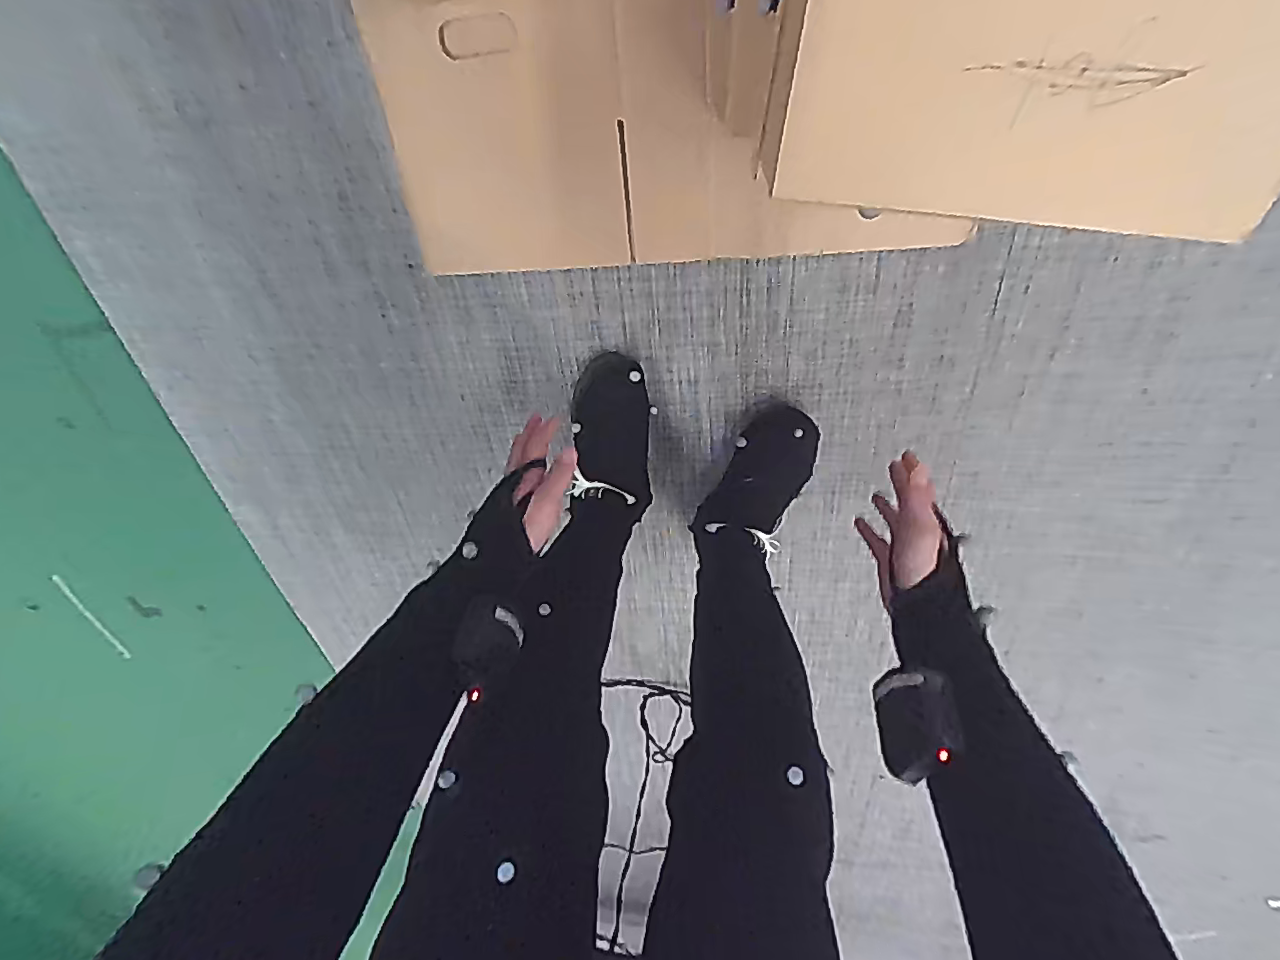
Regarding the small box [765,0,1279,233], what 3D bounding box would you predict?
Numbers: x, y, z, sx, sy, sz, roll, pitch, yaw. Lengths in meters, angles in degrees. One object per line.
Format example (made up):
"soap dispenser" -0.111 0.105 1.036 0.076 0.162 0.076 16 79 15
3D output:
"small box" 0.146 -0.211 0.211 0.168 0.176 0.179 9 124 6
